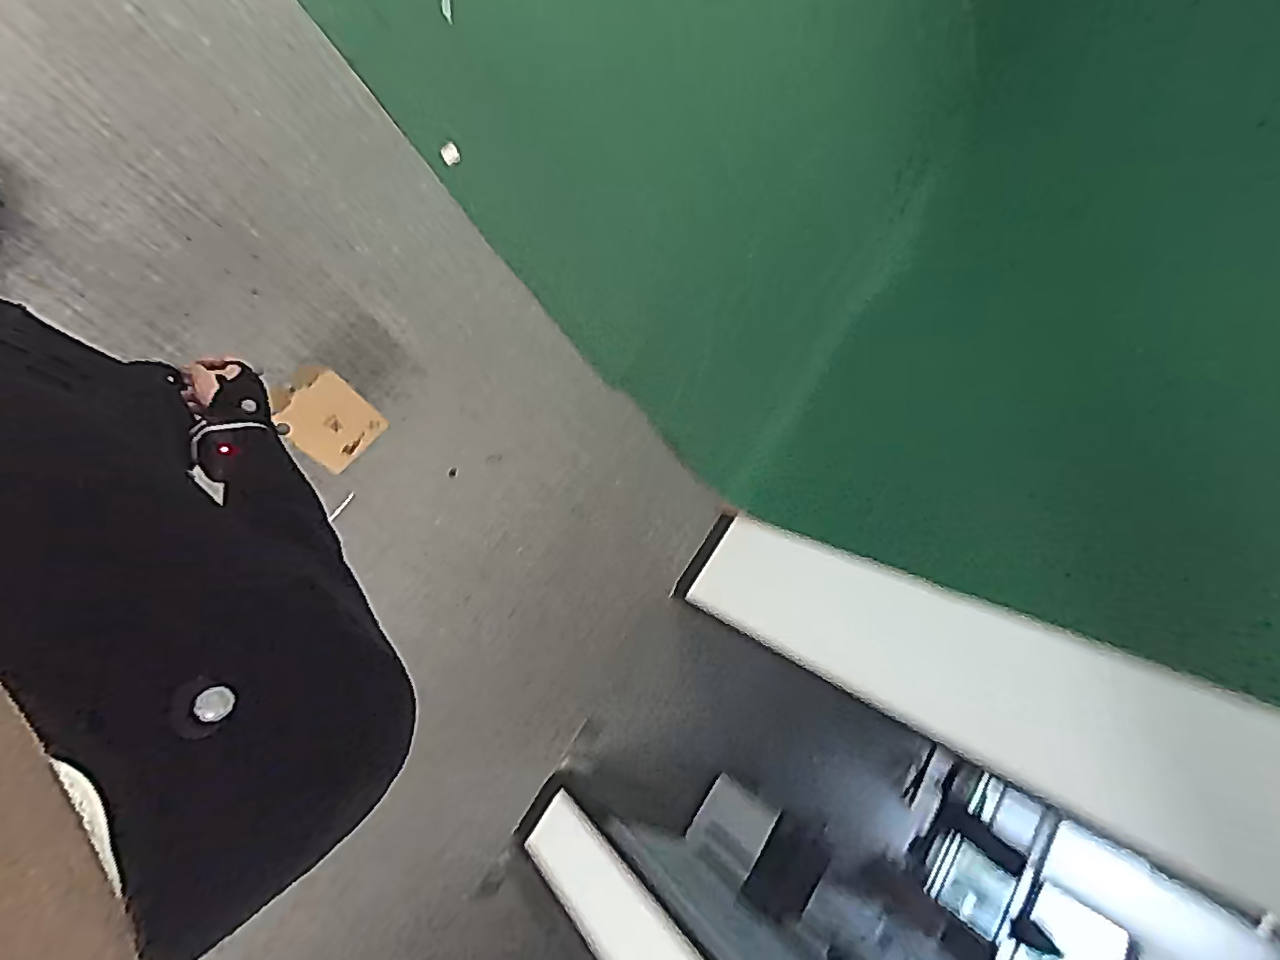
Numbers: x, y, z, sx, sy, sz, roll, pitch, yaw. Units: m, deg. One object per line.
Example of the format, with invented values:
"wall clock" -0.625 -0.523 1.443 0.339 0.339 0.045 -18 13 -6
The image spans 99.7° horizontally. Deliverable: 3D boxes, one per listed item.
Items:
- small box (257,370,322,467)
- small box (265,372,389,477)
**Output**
"small box" -0.832 -0.164 1.373 0.179 0.176 0.168 -50 129 -18
"small box" -0.727 -0.134 1.251 0.168 0.176 0.179 -50 128 -18
